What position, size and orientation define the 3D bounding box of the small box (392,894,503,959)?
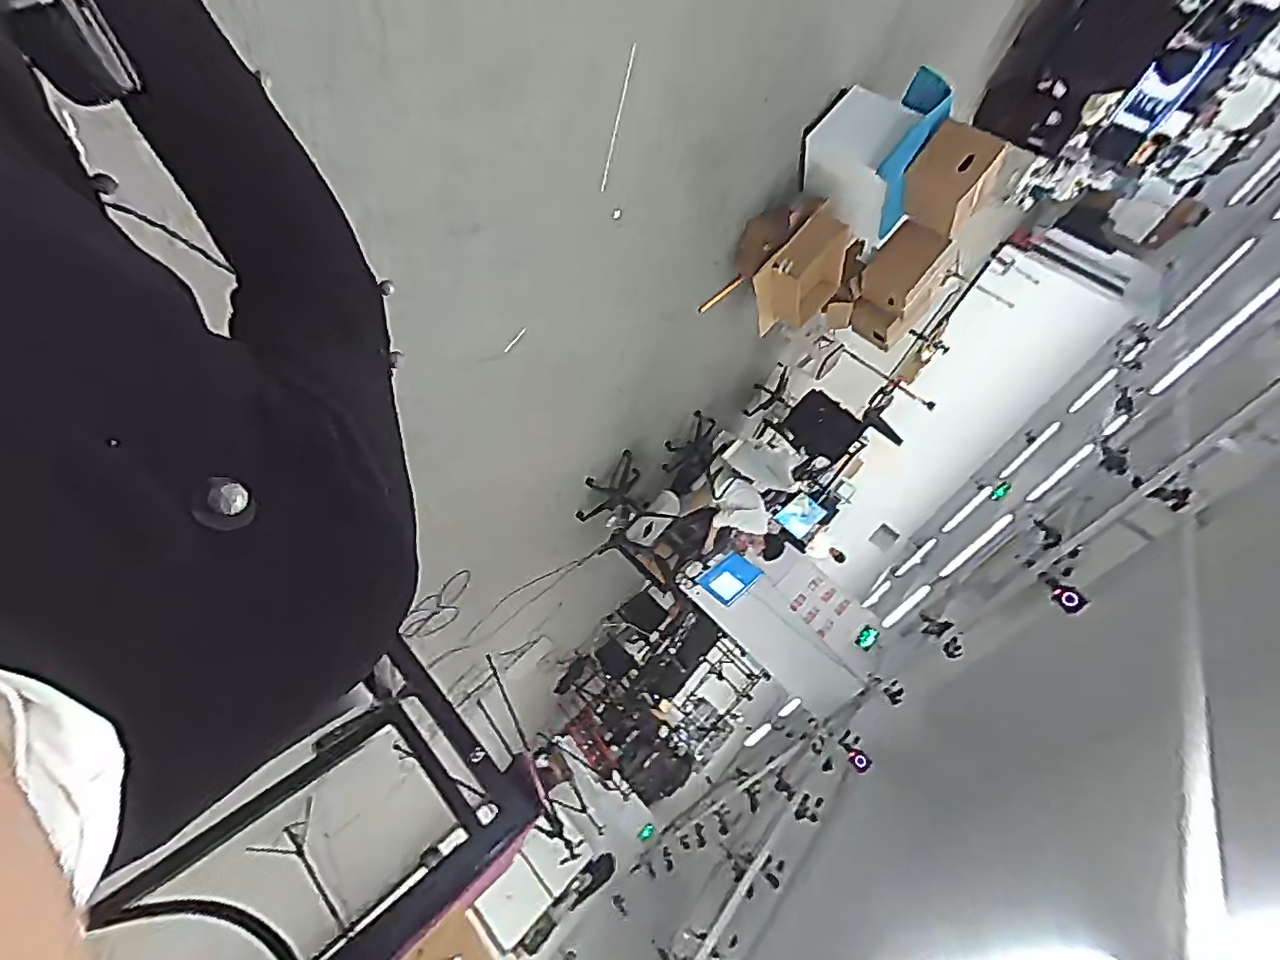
[{"bbox_3d":[-0.429,1.053,1.179,0.168,0.176,0.179,-28,154,-44],"label":"small box"}]
